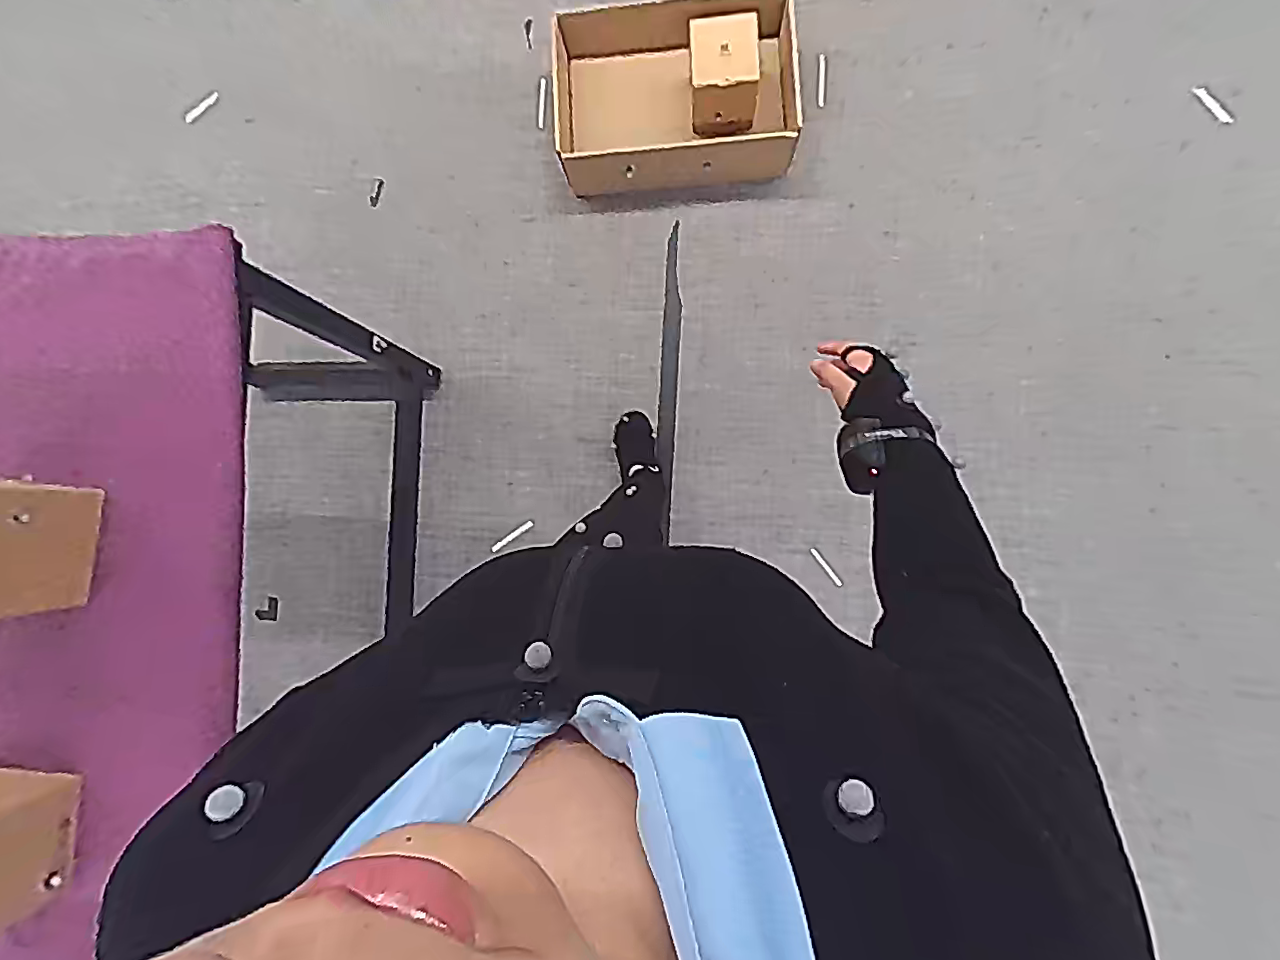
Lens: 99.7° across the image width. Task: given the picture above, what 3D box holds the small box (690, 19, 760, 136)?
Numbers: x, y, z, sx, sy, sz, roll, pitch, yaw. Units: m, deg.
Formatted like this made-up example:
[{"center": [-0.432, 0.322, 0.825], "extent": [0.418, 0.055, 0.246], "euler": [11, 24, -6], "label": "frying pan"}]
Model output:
[{"center": [0.216, -1.042, 1.412], "extent": [0.168, 0.176, 0.179], "euler": [-3, 86, 5], "label": "small box"}]

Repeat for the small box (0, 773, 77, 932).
[{"center": [-0.922, 0.515, 0.723], "extent": [0.179, 0.176, 0.168], "euler": [2, 86, 5], "label": "small box"}]
